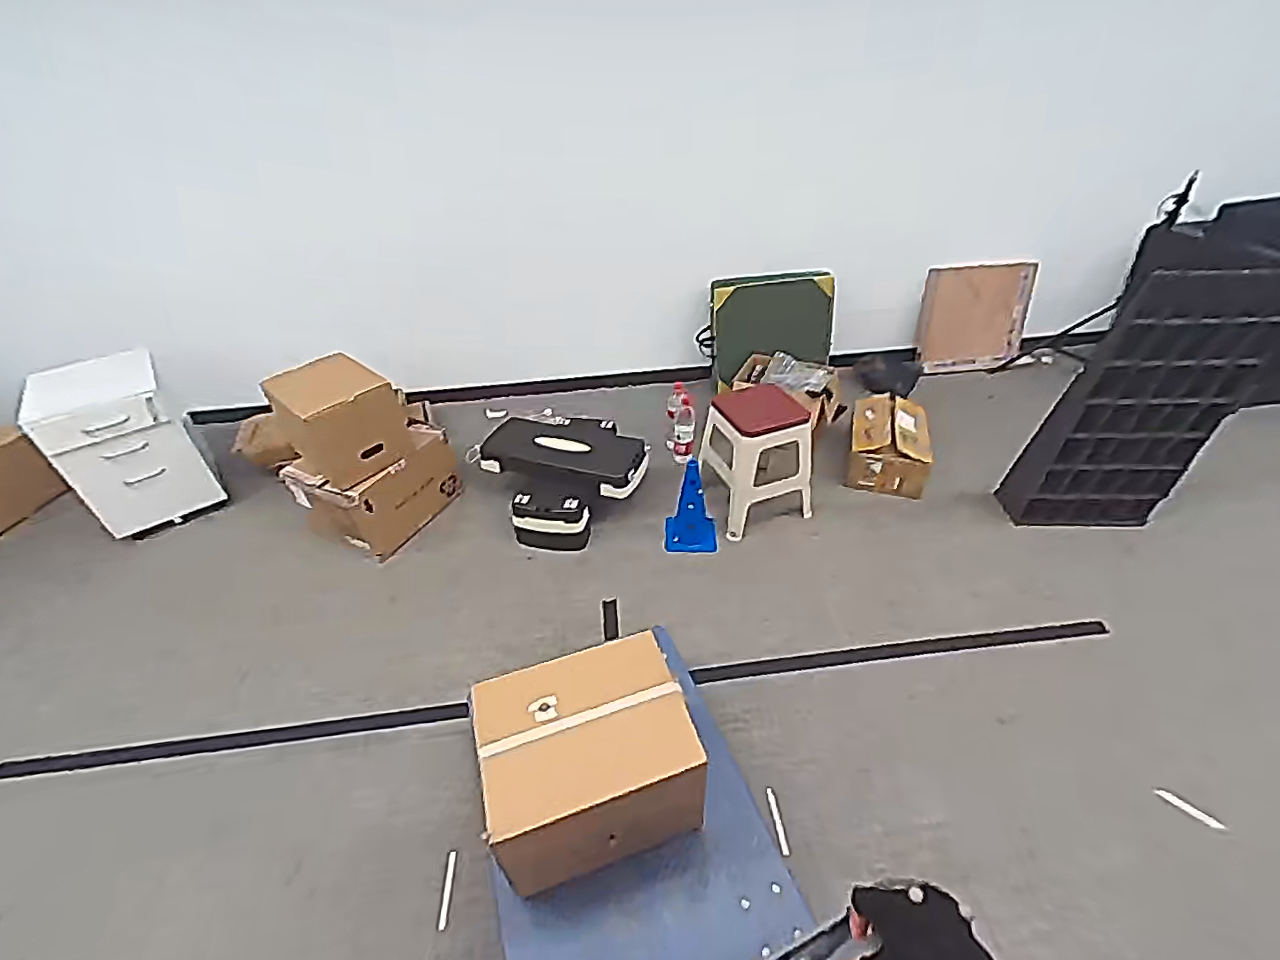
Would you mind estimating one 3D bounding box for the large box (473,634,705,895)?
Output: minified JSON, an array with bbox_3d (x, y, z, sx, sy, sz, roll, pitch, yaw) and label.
[{"bbox_3d":[-0.107,0.598,1.159,0.408,0.320,0.320,-14,39,-13],"label":"large box"}]
